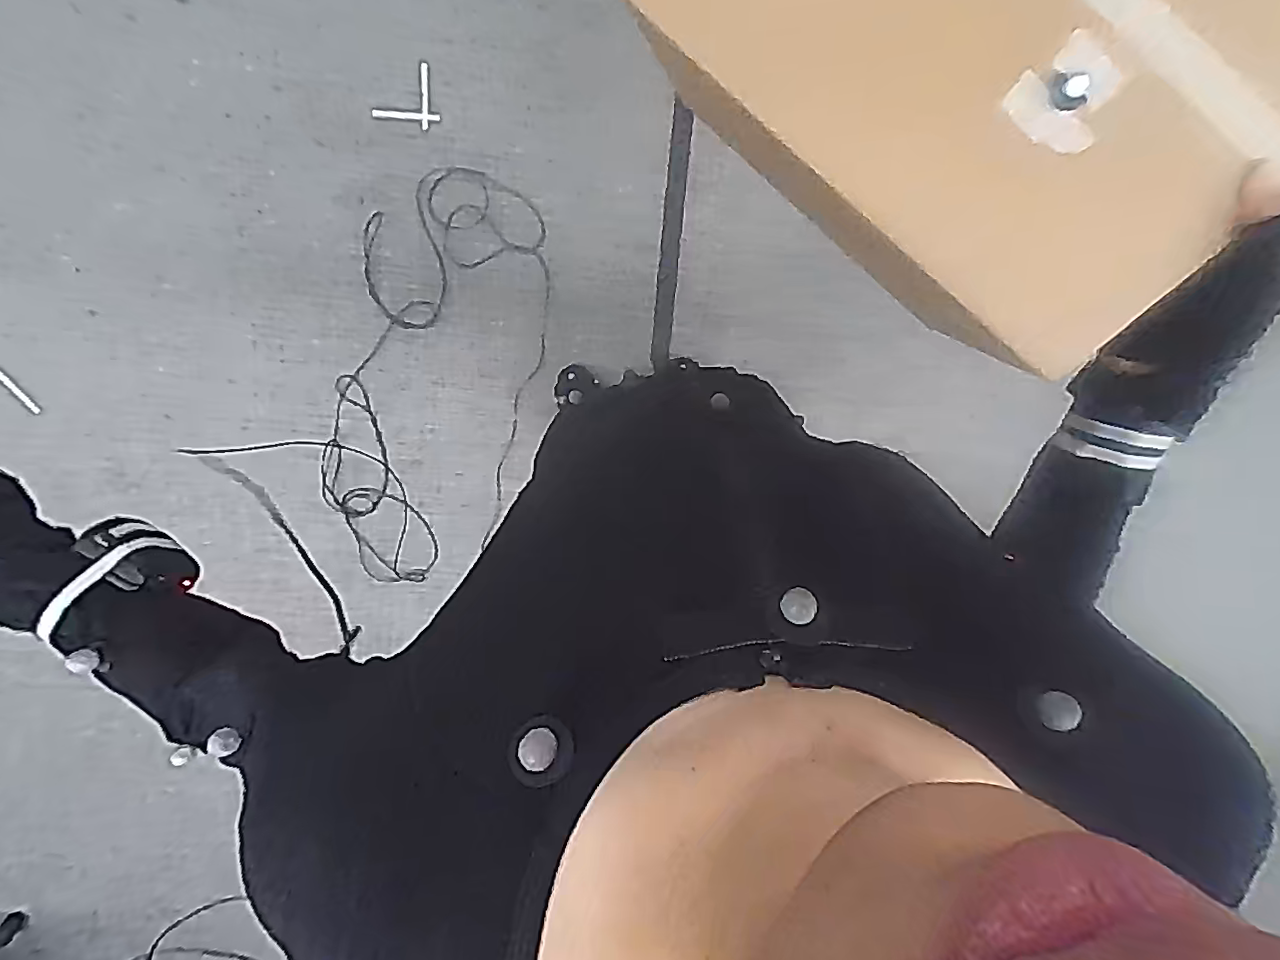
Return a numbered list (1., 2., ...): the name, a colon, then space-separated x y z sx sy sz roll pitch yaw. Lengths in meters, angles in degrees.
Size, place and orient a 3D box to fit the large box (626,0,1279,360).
1. large box: 0.259 -0.365 0.448 0.408 0.320 0.320 39 116 -5
